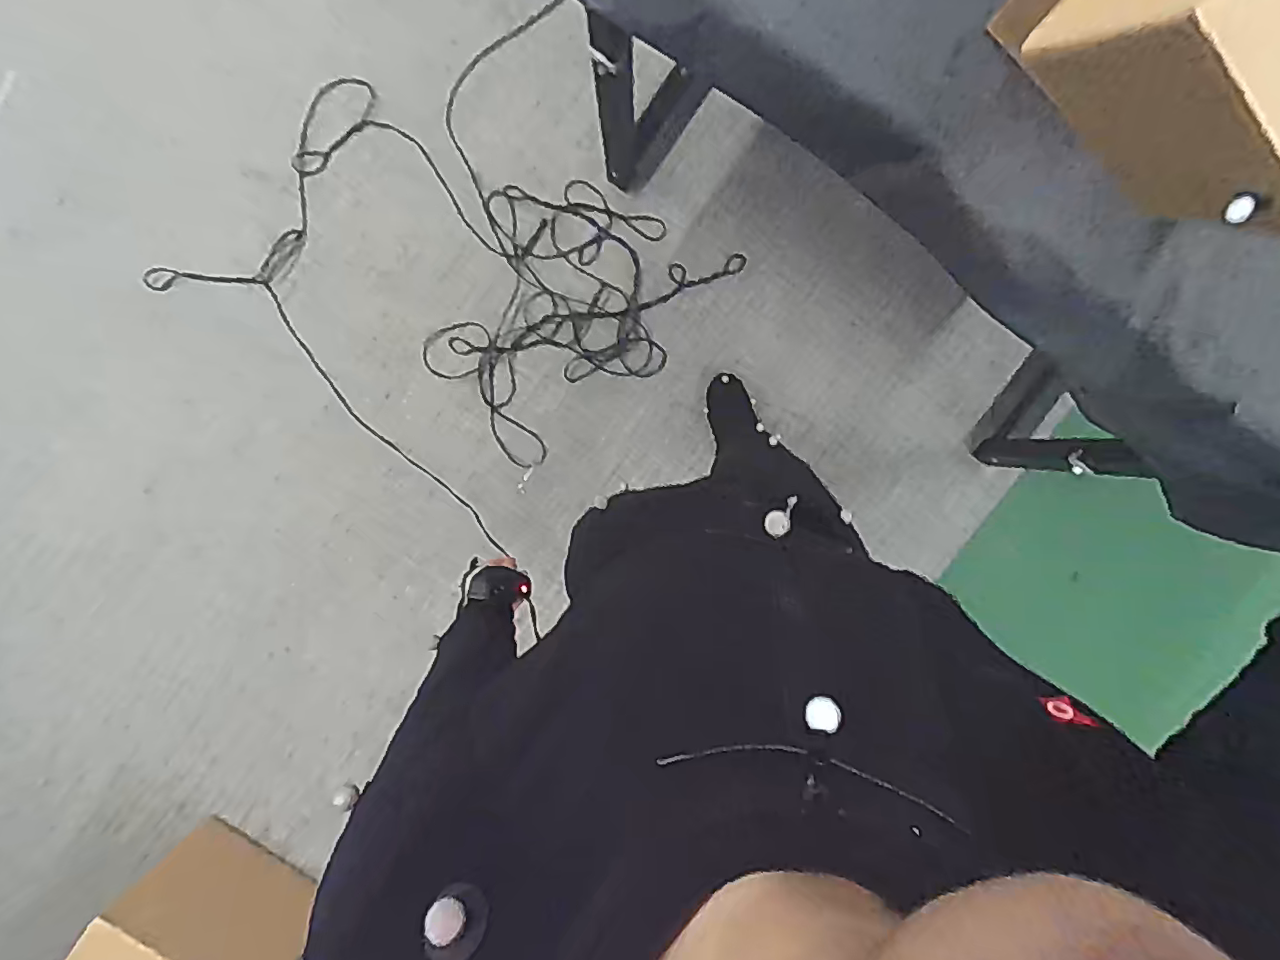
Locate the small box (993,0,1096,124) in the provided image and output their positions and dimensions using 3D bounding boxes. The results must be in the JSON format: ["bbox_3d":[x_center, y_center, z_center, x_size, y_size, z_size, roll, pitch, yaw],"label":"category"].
[{"bbox_3d":[0.489,-0.478,0.501,0.179,0.176,0.168,44,92,-3],"label":"small box"}]

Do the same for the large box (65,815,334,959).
[{"bbox_3d":[-1.057,1.124,1.300,0.408,0.320,0.320,35,93,-2],"label":"large box"}]

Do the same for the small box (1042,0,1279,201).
[{"bbox_3d":[0.390,-0.285,0.311,0.179,0.176,0.168,34,120,-17],"label":"small box"}]
